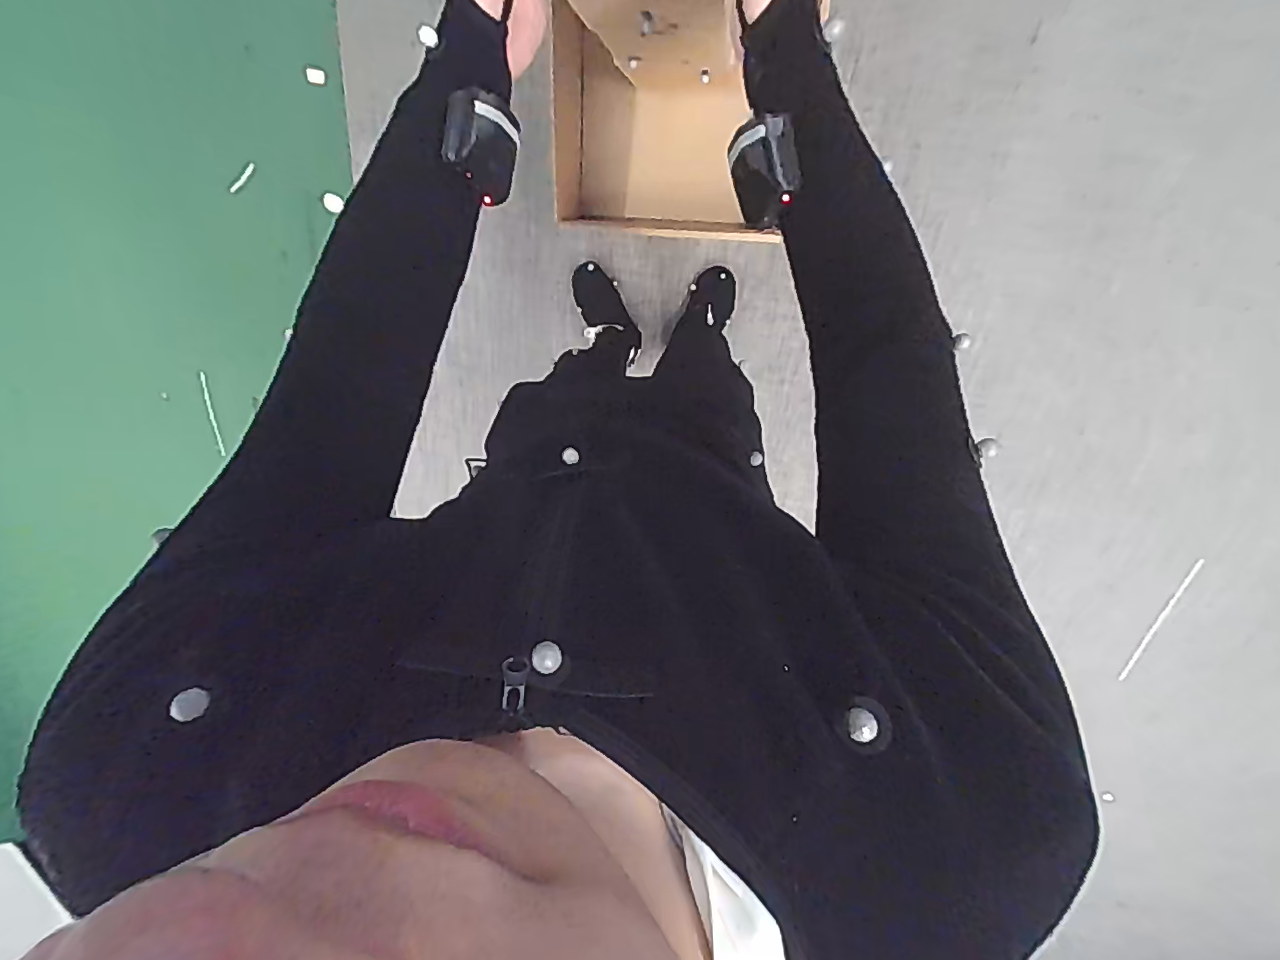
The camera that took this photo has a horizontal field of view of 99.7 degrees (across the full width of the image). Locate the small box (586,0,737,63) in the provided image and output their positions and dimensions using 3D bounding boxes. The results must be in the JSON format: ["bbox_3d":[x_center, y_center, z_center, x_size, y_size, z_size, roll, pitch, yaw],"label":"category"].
[{"bbox_3d":[0.038,-0.635,0.657,0.168,0.176,0.179,9,116,5],"label":"small box"}]

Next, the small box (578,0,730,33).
[{"bbox_3d":[0.011,-0.562,0.511,0.168,0.176,0.179,8,117,7],"label":"small box"}]

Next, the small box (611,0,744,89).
[{"bbox_3d":[0.062,-0.701,0.805,0.179,0.176,0.168,7,116,7],"label":"small box"}]
